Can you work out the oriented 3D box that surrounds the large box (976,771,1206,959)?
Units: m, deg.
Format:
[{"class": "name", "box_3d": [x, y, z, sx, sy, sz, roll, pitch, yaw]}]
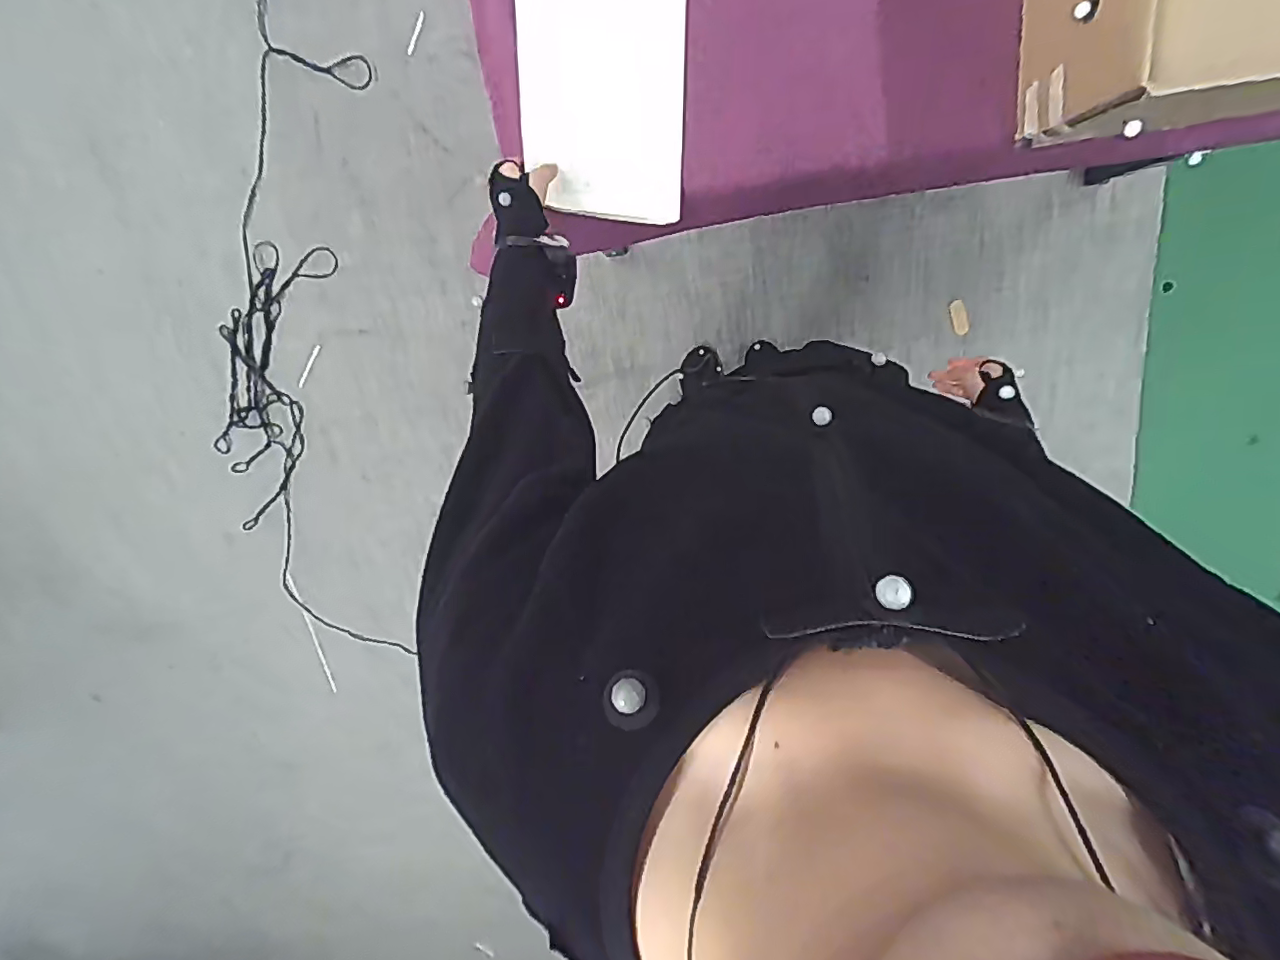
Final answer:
[{"class": "large box", "box_3d": [1.327, 1.158, 1.628, 0.408, 0.320, 0.320, -21, 104, 10]}]
